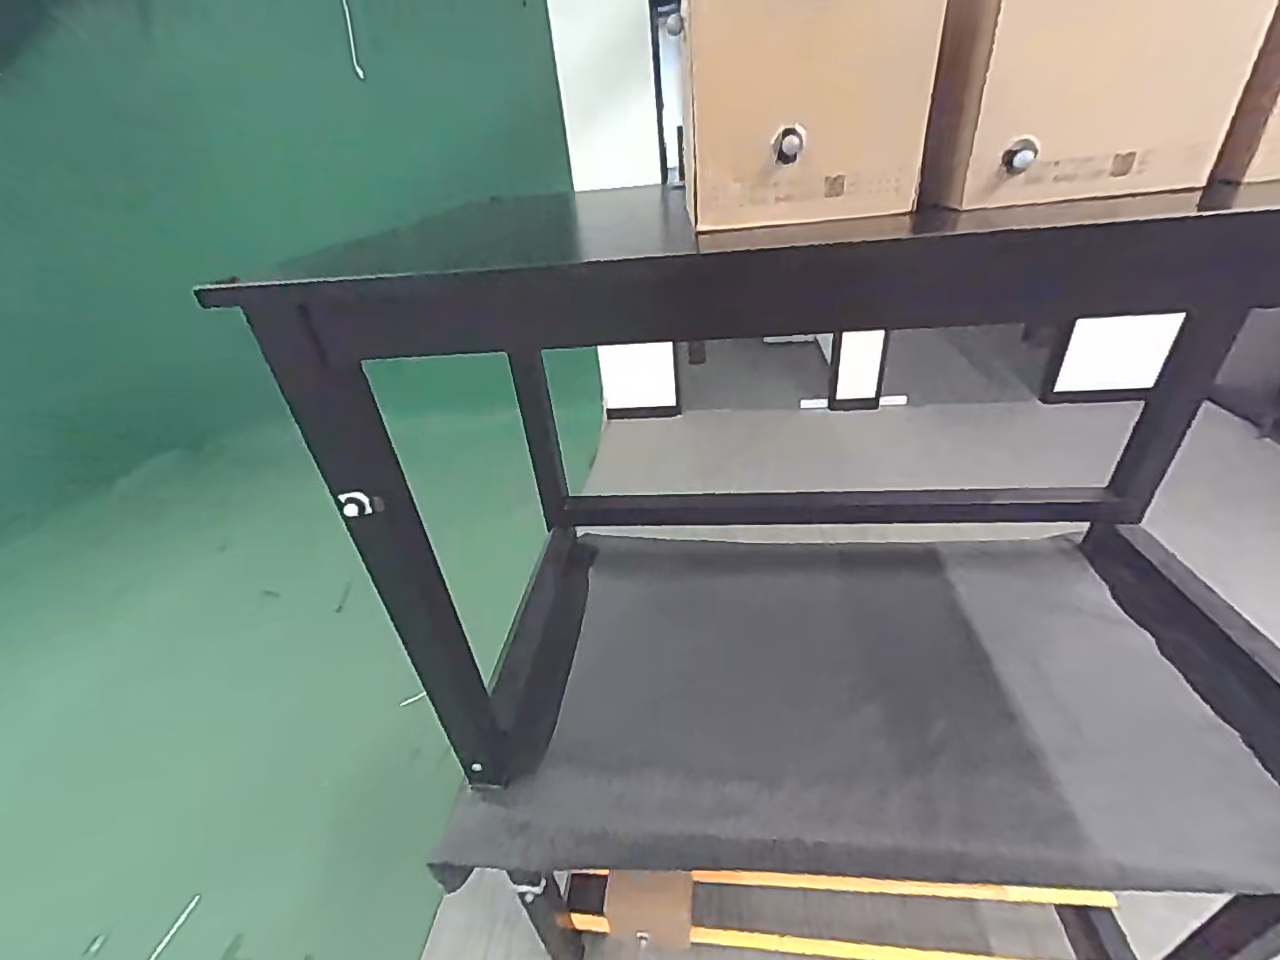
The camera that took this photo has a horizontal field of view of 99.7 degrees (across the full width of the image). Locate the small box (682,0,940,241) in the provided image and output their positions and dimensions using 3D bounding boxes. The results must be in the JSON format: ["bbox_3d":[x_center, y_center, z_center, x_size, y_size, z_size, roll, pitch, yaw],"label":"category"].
[{"bbox_3d":[0.120,-0.304,0.453,0.168,0.176,0.179,-3,33,5],"label":"small box"}]
